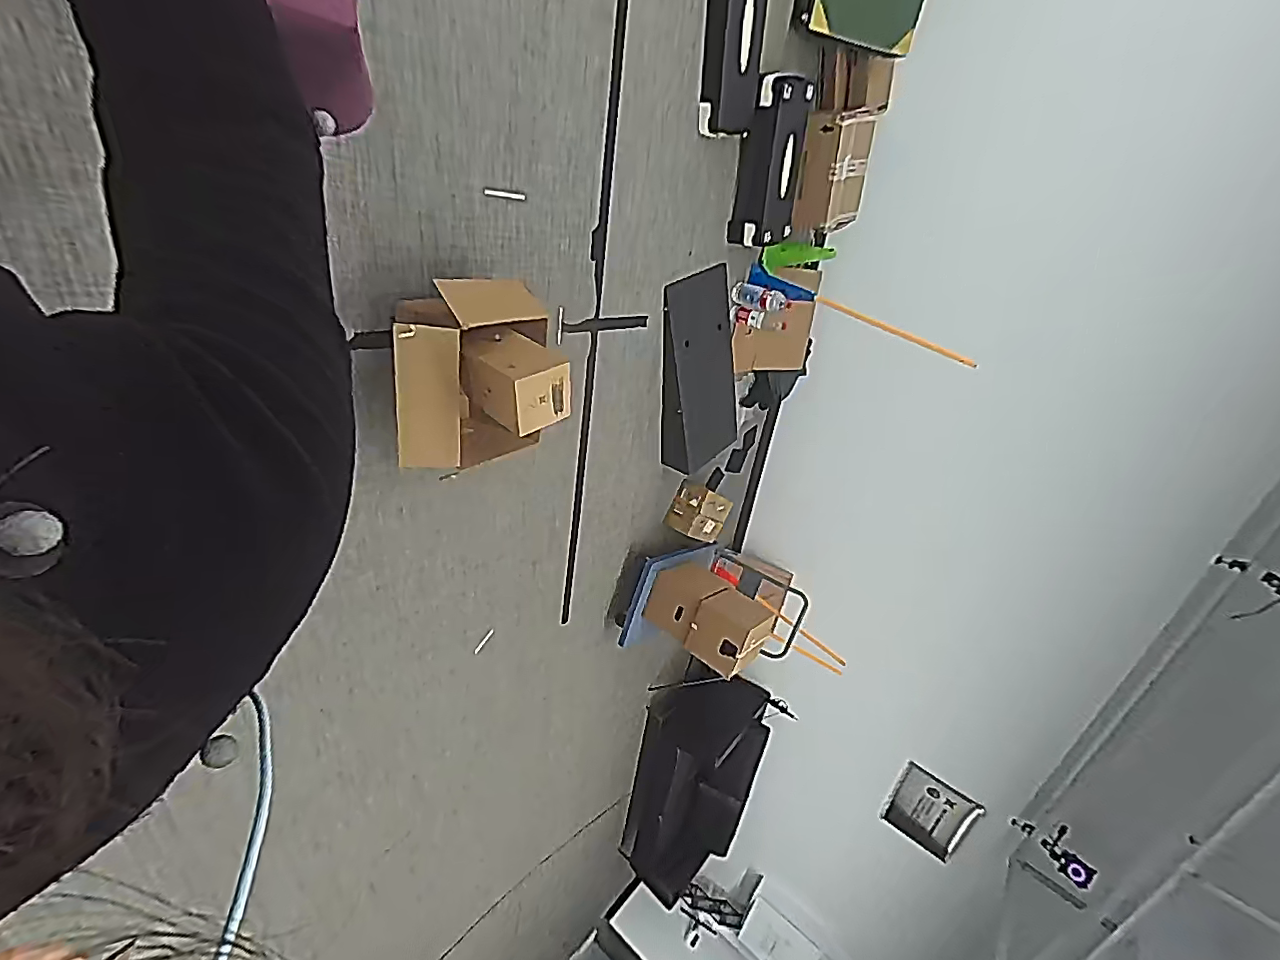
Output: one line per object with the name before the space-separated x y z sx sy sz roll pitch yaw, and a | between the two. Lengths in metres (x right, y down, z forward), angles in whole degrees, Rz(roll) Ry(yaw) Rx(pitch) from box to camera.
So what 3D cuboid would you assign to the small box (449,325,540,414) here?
small box | -0.417 -0.325 1.548 0.168 0.176 0.179 -38 144 -29
